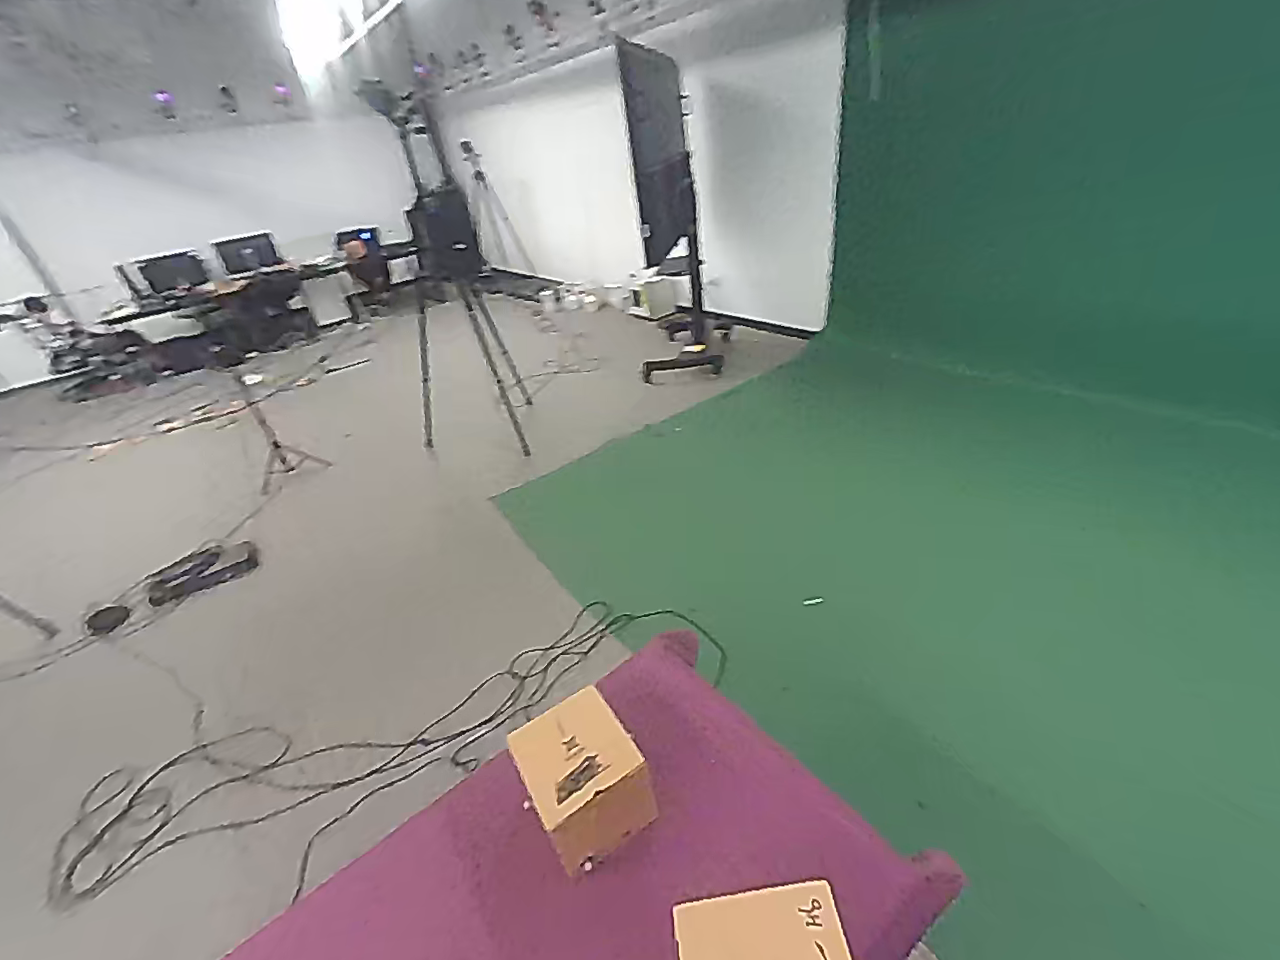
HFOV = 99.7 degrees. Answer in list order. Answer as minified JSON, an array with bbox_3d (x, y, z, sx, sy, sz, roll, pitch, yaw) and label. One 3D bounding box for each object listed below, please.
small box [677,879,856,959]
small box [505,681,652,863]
[{"bbox_3d":[0.145,0.554,0.559,0.179,0.176,0.168,-13,30,7],"label":"small box"},{"bbox_3d":[-0.095,0.476,0.877,0.168,0.176,0.179,-24,36,-23],"label":"small box"}]
